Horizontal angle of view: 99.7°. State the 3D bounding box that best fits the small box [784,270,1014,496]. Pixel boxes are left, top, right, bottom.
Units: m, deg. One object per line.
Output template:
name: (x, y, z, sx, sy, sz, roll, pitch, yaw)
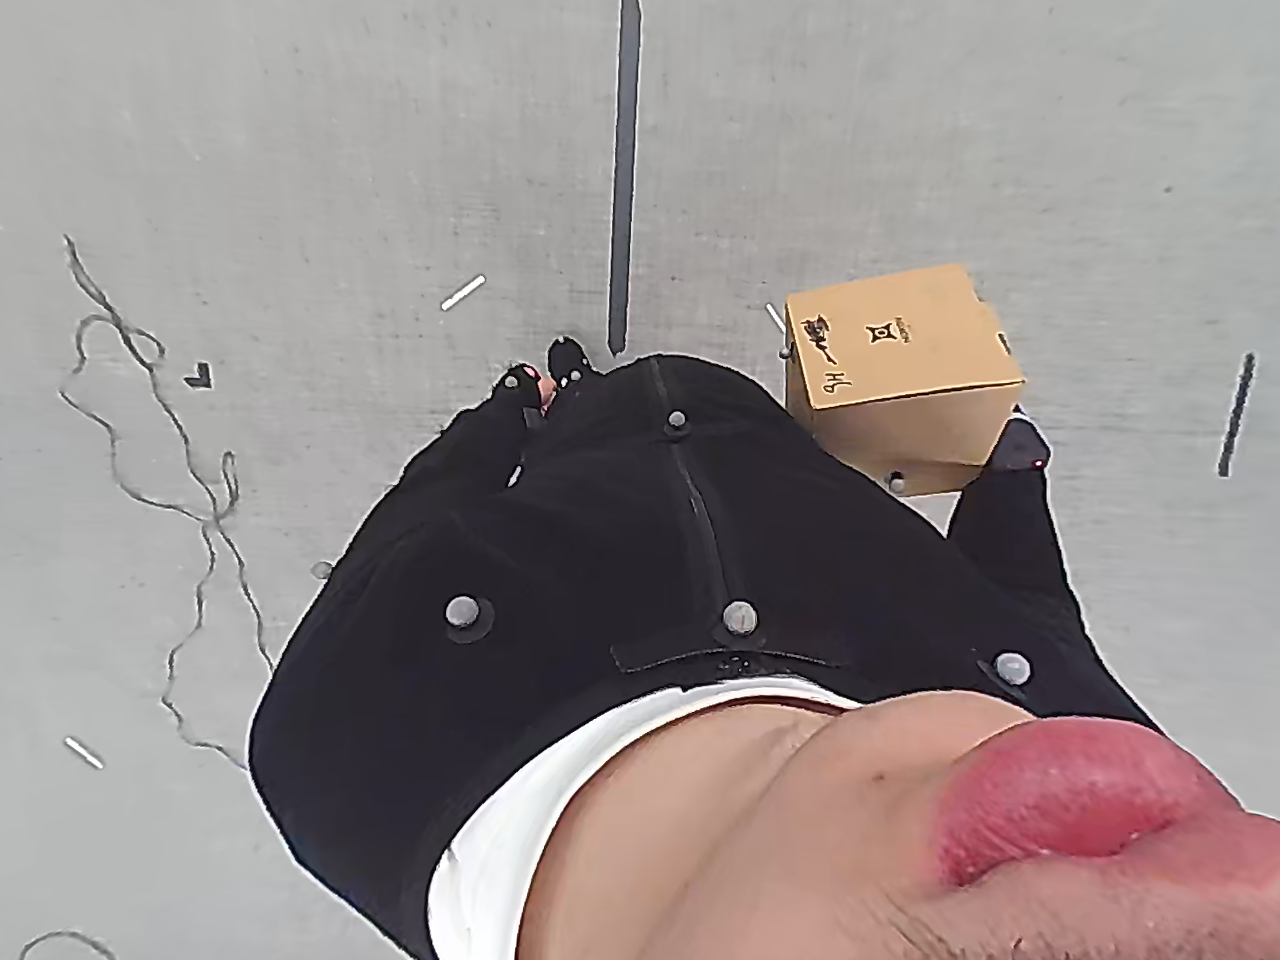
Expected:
small box: (0.260, -0.099, 0.595, 0.179, 0.168, 0.176, -7, 143, 9)
